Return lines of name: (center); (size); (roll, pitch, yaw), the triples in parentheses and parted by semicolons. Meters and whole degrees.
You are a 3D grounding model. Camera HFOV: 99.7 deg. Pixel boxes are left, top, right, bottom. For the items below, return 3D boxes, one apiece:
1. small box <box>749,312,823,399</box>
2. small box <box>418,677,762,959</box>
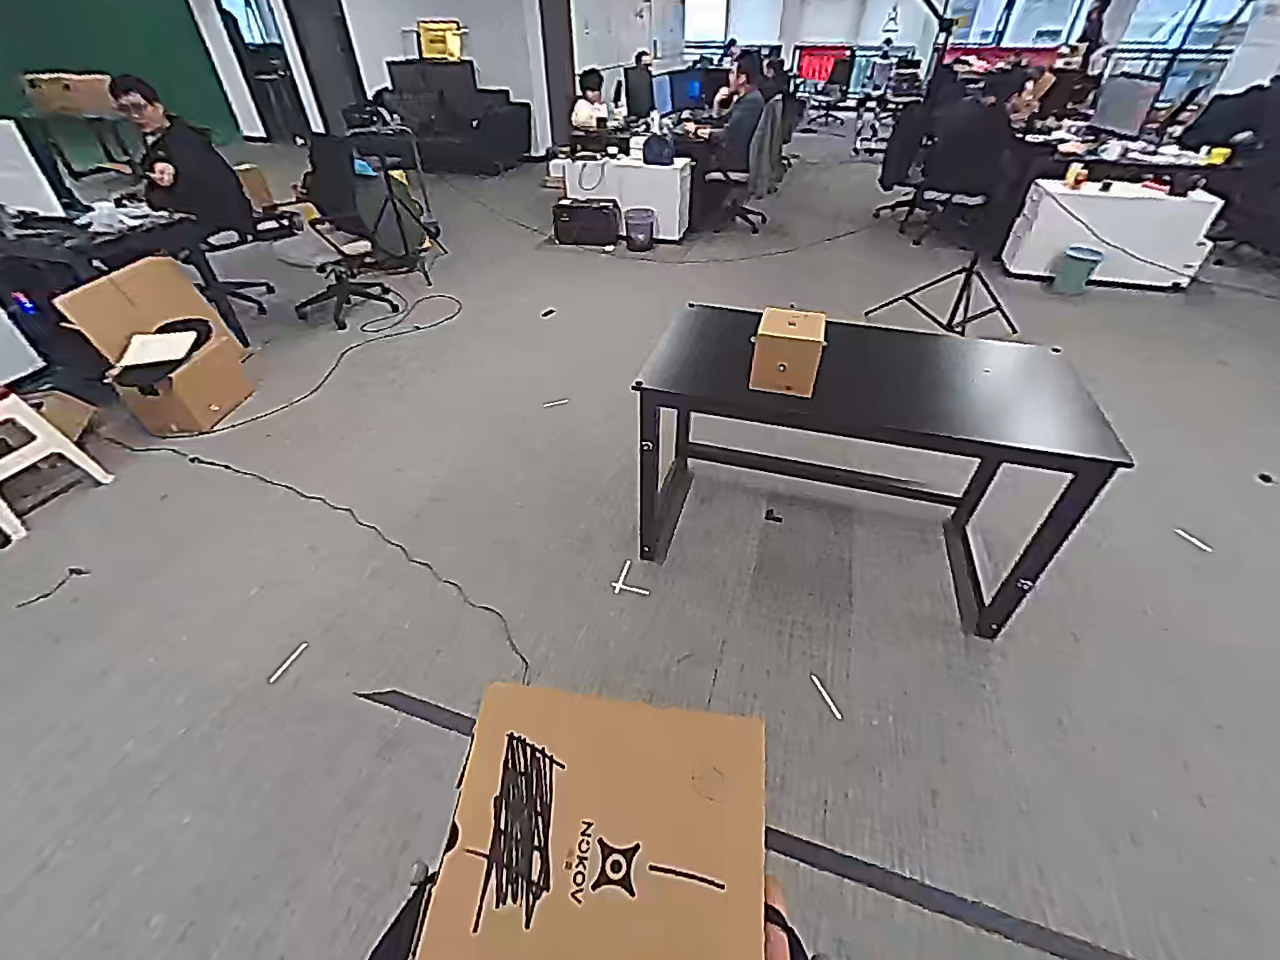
small box: (0.400, -0.343, 1.491); (0.168, 0.176, 0.179); (11, 41, 13)
small box: (-0.018, 0.248, 0.369); (0.179, 0.176, 0.168); (6, 57, 4)
